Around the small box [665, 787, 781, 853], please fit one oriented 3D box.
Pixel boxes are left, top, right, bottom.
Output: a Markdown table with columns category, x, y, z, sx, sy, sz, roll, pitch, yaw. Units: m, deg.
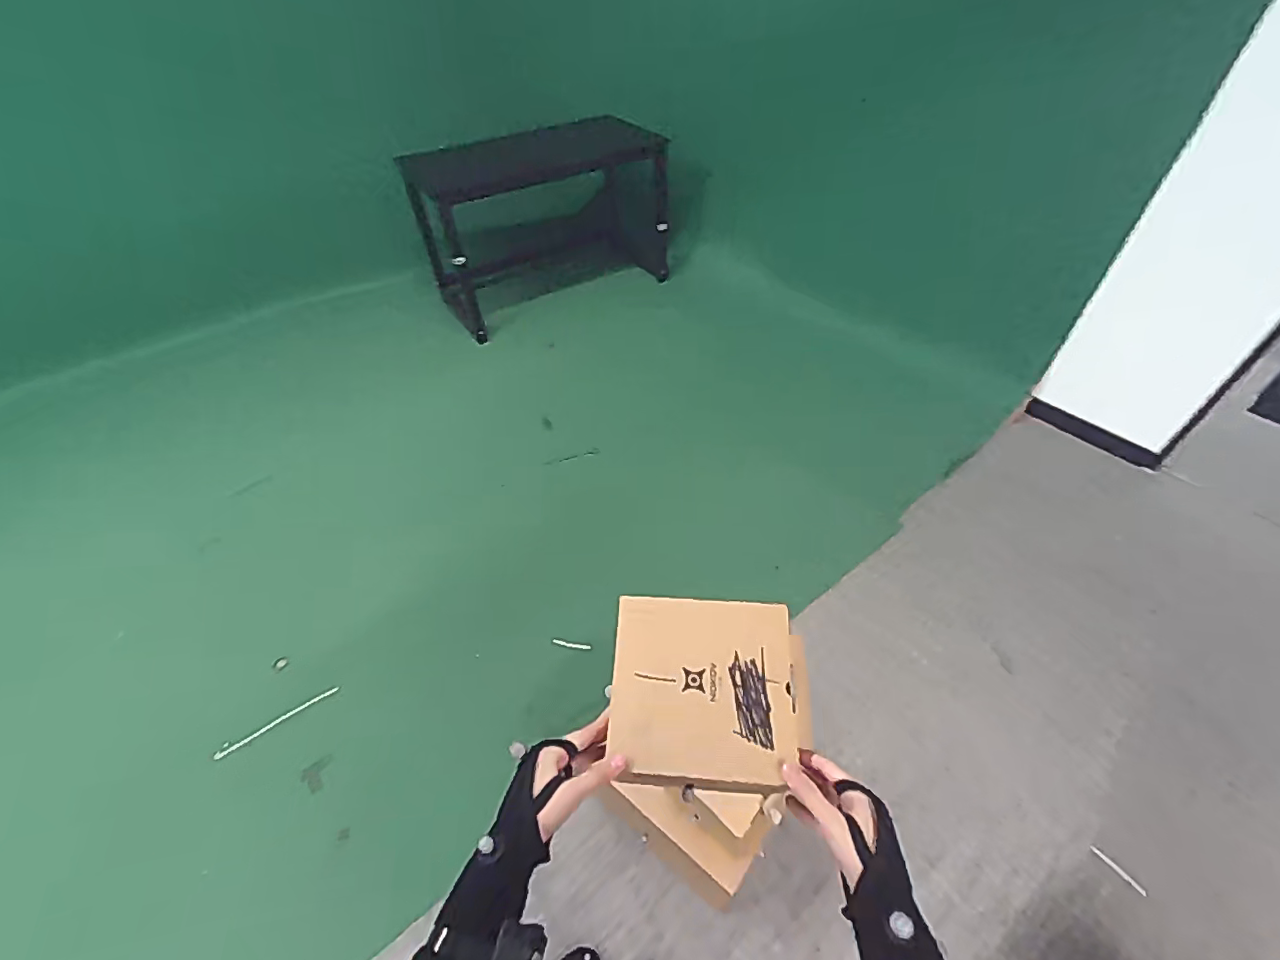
| category | x | y | z | sx | sy | sz | roll | pitch | yaw |
| --- | --- | --- | --- | --- | --- | --- | --- | --- | --- |
| small box | 0.160 | 0.558 | 1.010 | 0.179 | 0.176 | 0.168 | 34 | 56 | 30 |

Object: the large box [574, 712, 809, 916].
| category | x | y | z | sx | sy | sz | roll | pitch | yaw |
| --- | --- | --- | --- | --- | --- | --- | --- | --- | --- |
| large box | 0.115 | 0.681 | 1.235 | 0.408 | 0.320 | 0.320 | 29 | 53 | 28 |

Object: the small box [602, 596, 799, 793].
| category | x | y | z | sx | sy | sz | roll | pitch | yaw |
| --- | --- | --- | --- | --- | --- | --- | --- | --- | --- |
| small box | 0.060 | 0.237 | 0.583 | 0.179 | 0.176 | 0.168 | 3 | 58 | 4 |
